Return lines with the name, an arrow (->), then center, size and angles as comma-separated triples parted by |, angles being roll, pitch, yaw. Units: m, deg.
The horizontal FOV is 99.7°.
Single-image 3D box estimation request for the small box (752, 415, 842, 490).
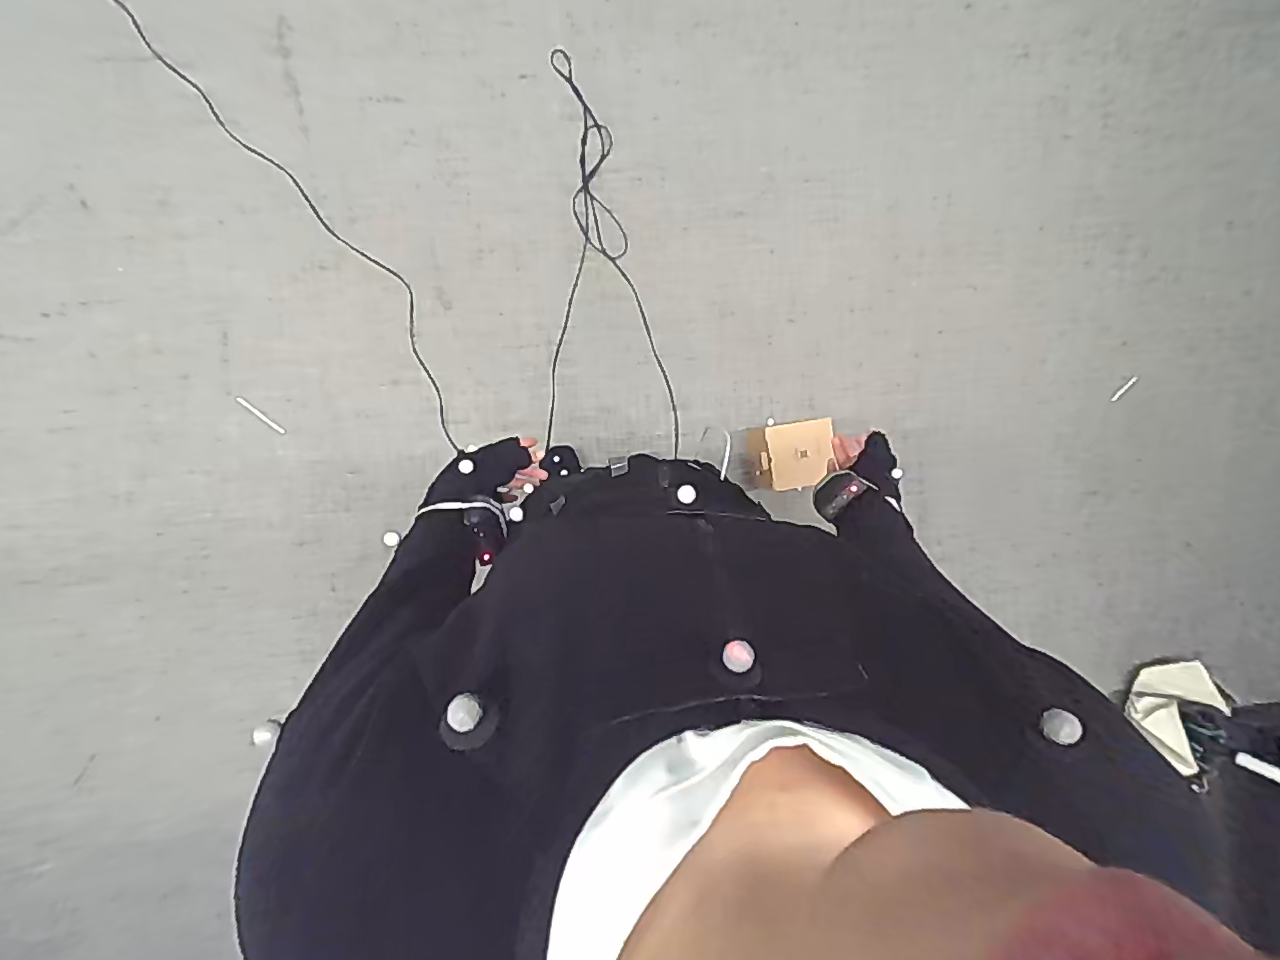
small box -> 0.401, -0.072, 1.415 | 0.179, 0.176, 0.168 | -10, 95, -5
